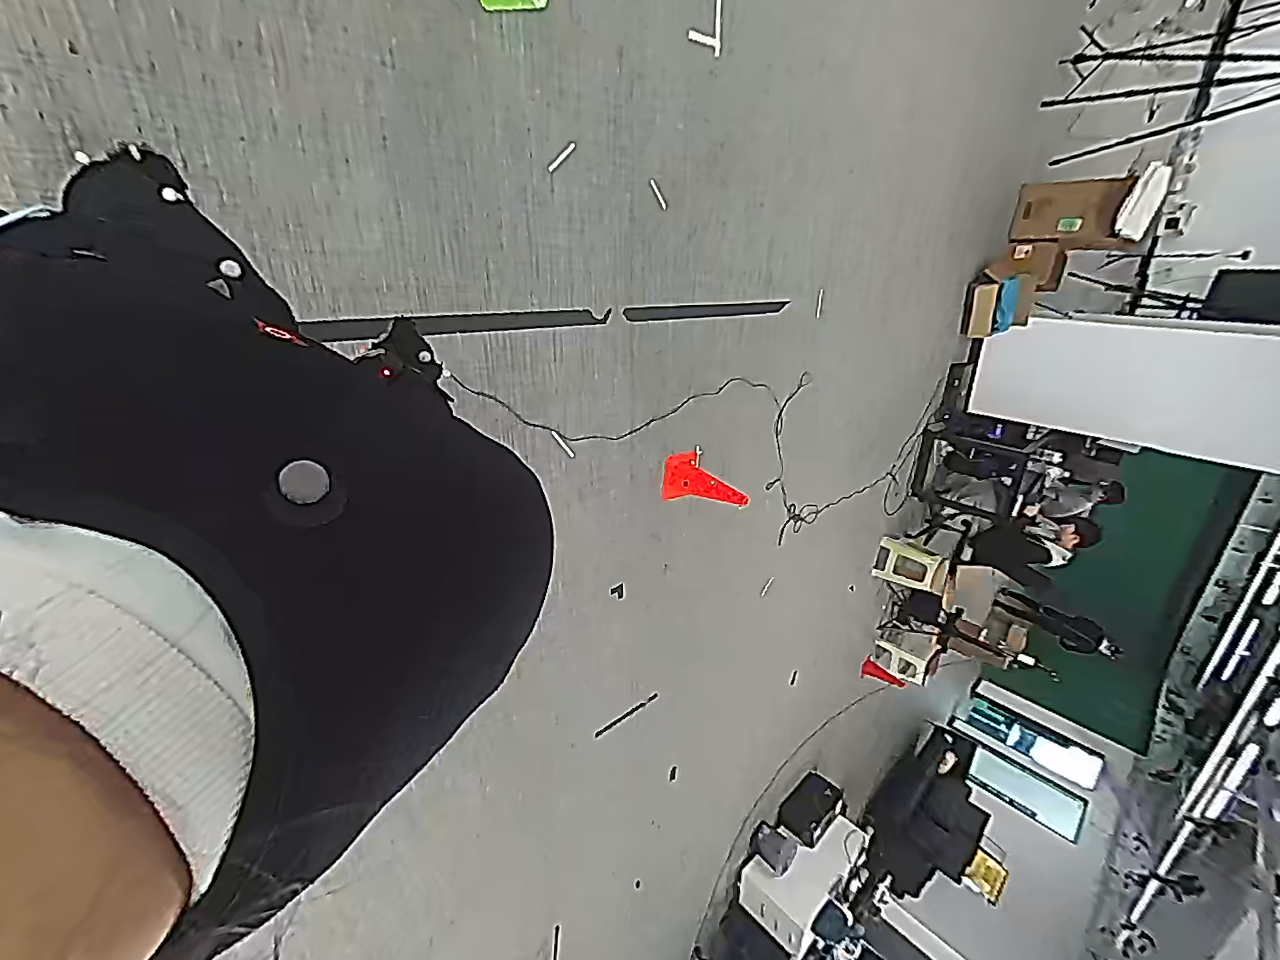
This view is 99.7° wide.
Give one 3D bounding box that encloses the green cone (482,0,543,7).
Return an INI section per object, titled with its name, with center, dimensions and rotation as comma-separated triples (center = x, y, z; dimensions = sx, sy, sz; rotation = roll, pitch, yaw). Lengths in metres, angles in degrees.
[green cone]
center = -0.208, -1.211, 1.175
dimensions = 0.202, 0.368, 0.200
rotation = -36, 130, -32

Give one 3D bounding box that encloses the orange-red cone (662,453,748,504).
[orange-red cone]
center = 0.287, 0.030, 2.208
dimensions = 0.199, 0.360, 0.198
rotation = -9, 113, -42
